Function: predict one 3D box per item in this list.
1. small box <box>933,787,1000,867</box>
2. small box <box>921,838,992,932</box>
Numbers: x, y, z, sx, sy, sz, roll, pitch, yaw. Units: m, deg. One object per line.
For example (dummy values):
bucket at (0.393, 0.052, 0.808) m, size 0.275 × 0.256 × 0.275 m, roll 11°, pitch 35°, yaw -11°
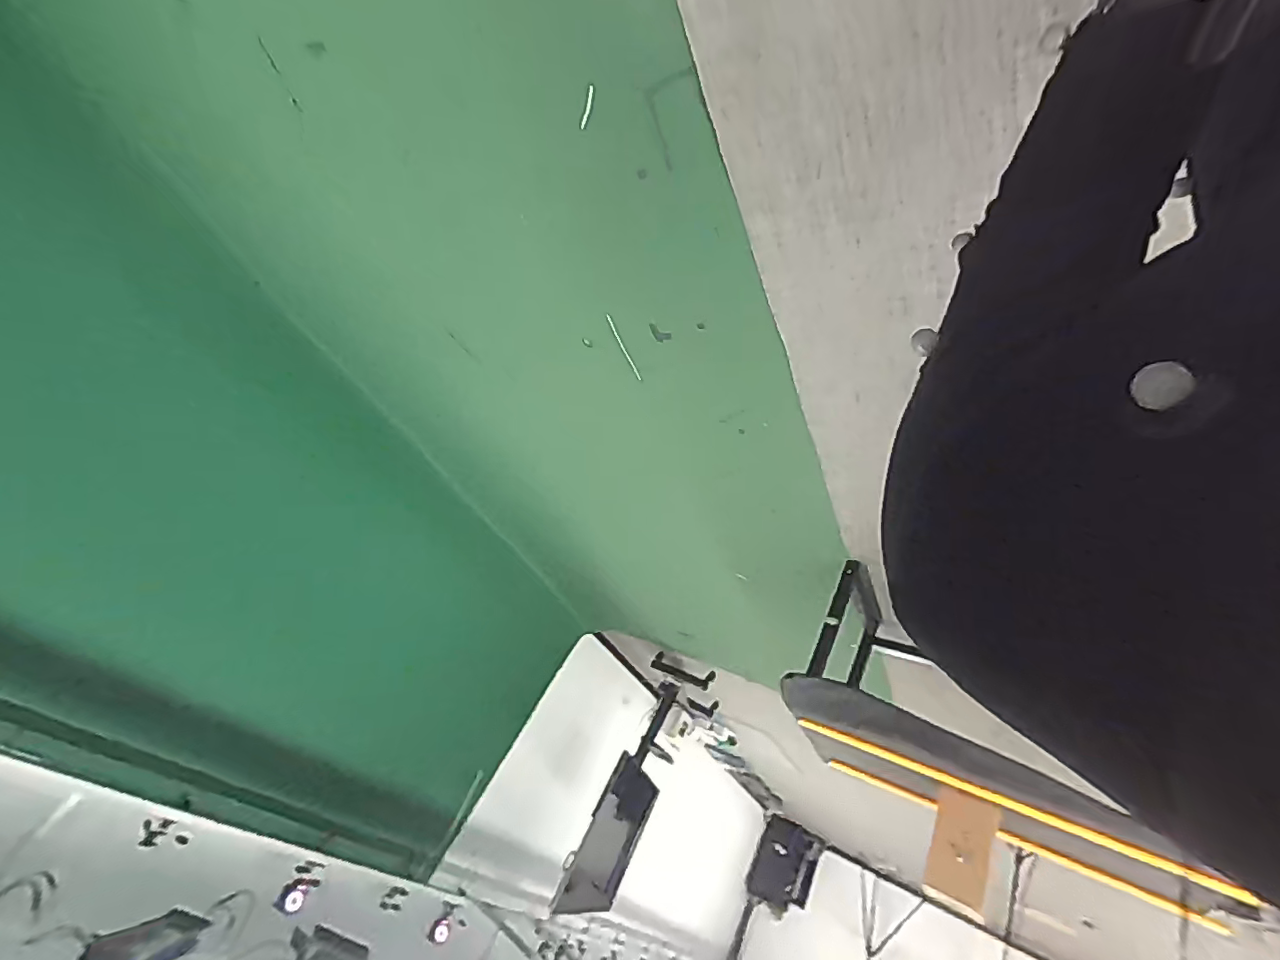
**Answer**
small box at (1.096, 1.169, 1.811) m, size 0.168 × 0.176 × 0.179 m, roll 7°, pitch 142°, yaw 39°
small box at (1.018, 1.290, 1.731) m, size 0.168 × 0.176 × 0.179 m, roll 7°, pitch 142°, yaw 40°
